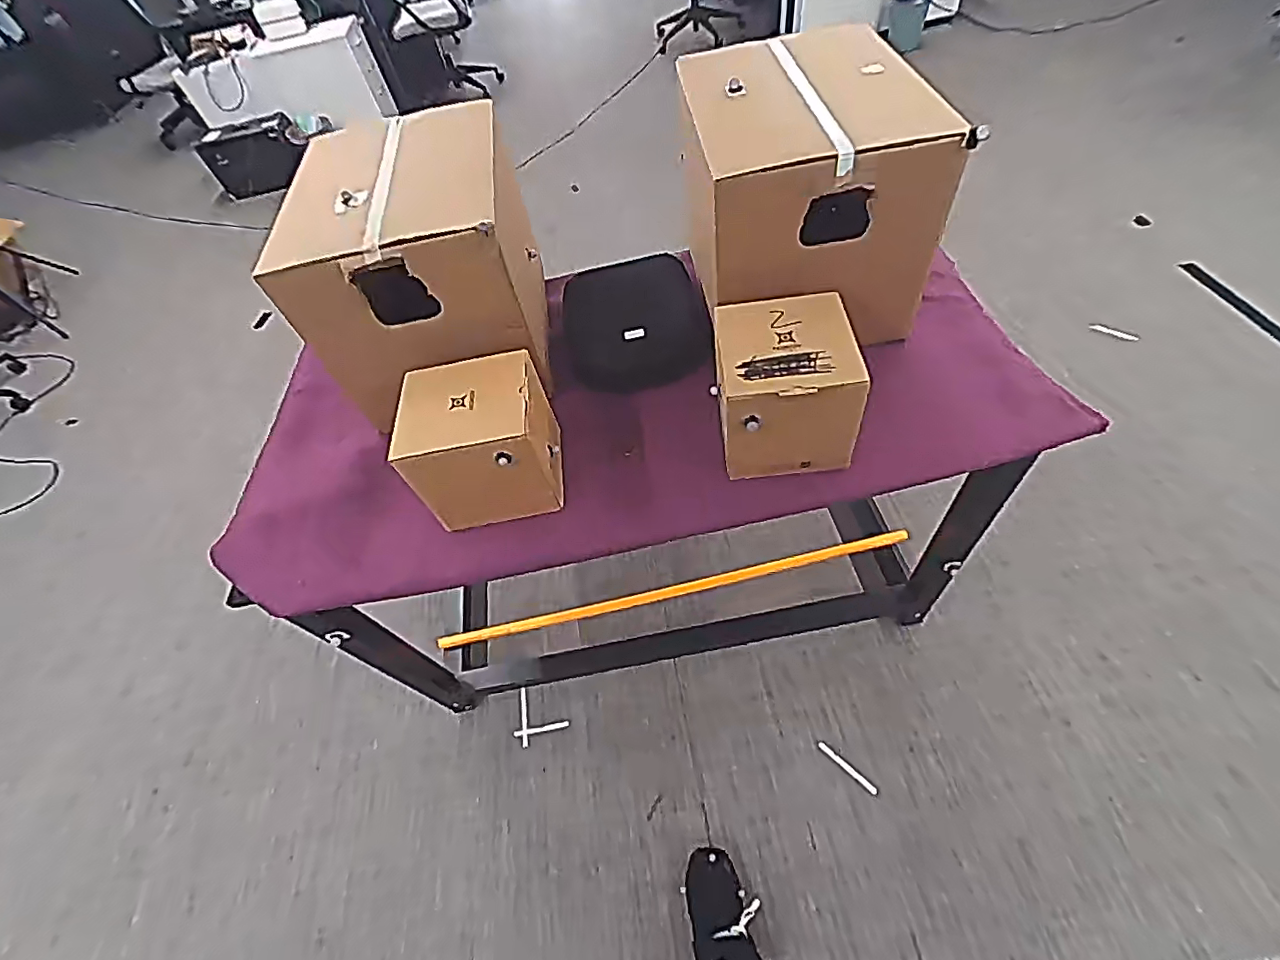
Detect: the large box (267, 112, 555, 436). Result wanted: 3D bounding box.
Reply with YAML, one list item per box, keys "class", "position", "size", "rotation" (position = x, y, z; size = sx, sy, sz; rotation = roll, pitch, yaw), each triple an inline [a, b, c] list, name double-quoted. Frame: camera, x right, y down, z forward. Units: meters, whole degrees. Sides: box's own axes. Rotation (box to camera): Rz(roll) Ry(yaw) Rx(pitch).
- class: "large box"
  position: [-0.344, -0.344, 0.915]
  size: [0.320, 0.320, 0.408]
  rotation: [-13, 56, 1]
